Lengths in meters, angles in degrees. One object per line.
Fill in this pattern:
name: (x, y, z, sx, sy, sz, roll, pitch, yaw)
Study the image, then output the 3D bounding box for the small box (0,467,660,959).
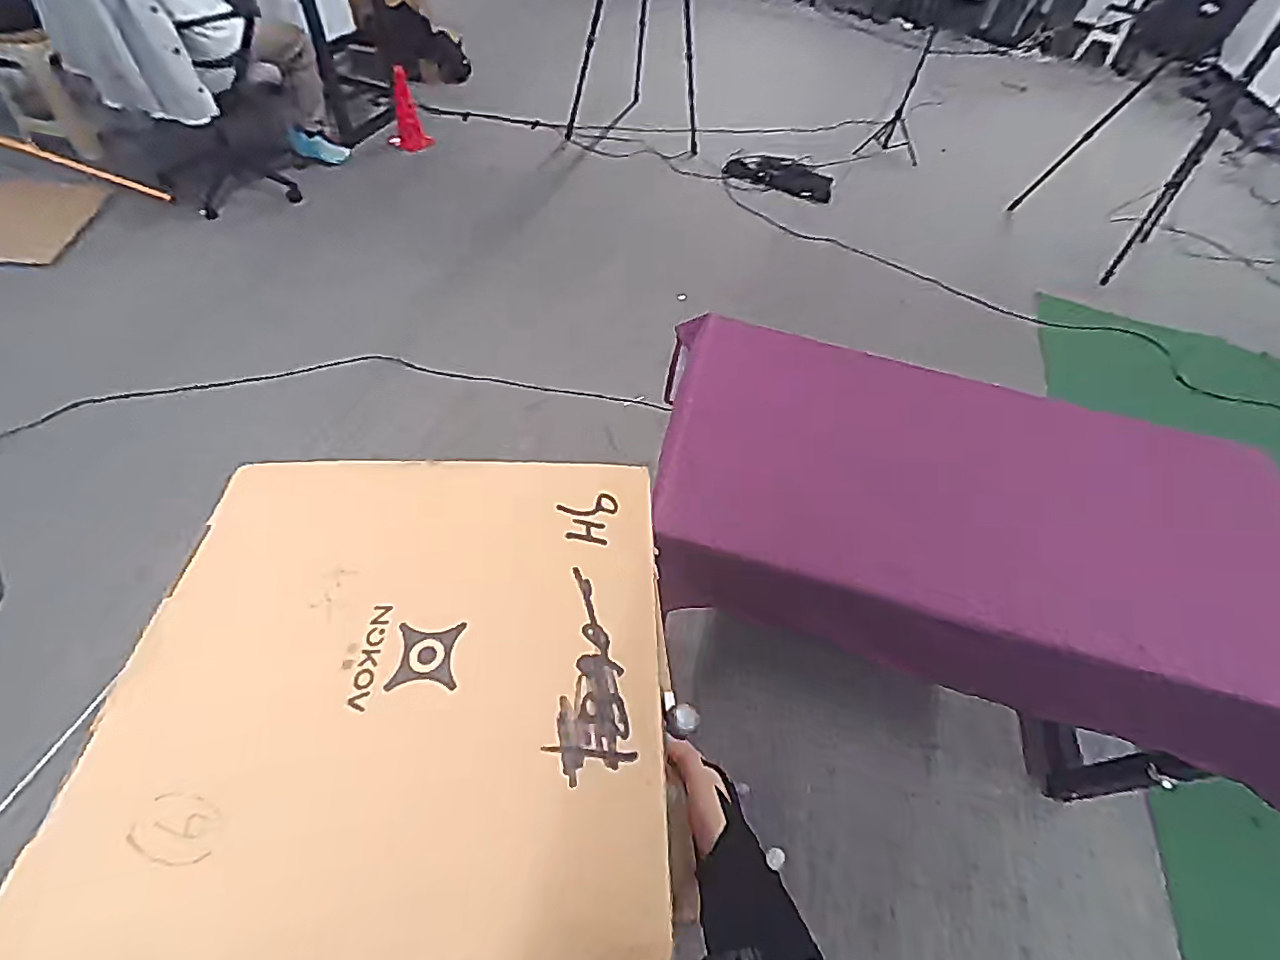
small box: (-0.083, 0.109, 0.249, 0.179, 0.176, 0.168, 0, 54, -2)
